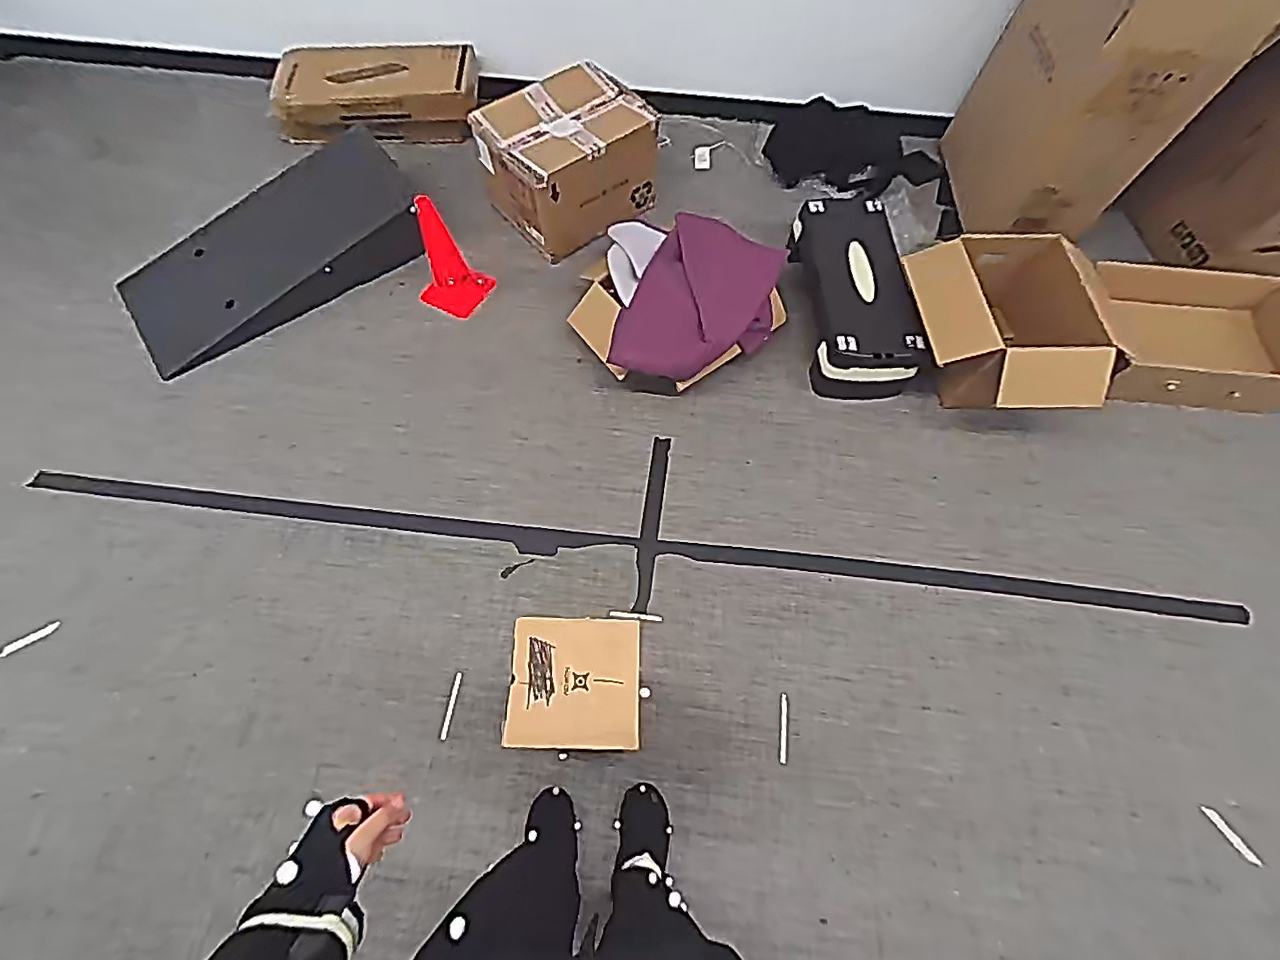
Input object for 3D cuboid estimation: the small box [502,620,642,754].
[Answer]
[{"bbox_3d":[-0.087,0.305,0.787,0.179,0.176,0.168,1,65,0],"label":"small box"}]
